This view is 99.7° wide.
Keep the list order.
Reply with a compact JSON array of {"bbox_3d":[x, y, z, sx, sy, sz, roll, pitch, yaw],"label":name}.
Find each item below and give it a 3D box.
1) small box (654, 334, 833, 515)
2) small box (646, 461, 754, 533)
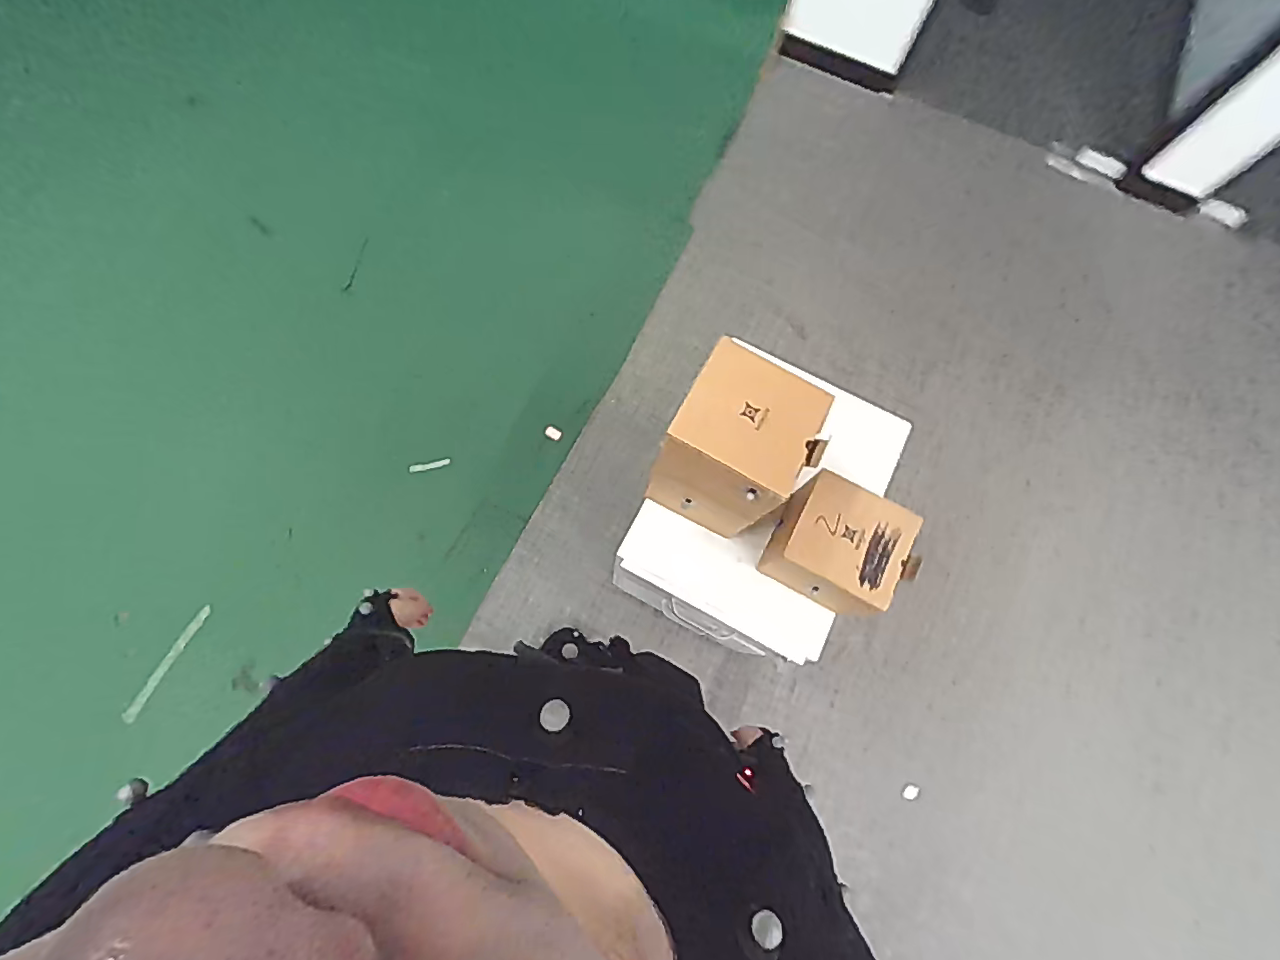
[{"bbox_3d":[0.136,-0.068,0.777,0.179,0.176,0.168,30,73,2],"label":"small box"},{"bbox_3d":[0.123,-0.024,0.934,0.179,0.176,0.168,27,73,3],"label":"small box"}]
